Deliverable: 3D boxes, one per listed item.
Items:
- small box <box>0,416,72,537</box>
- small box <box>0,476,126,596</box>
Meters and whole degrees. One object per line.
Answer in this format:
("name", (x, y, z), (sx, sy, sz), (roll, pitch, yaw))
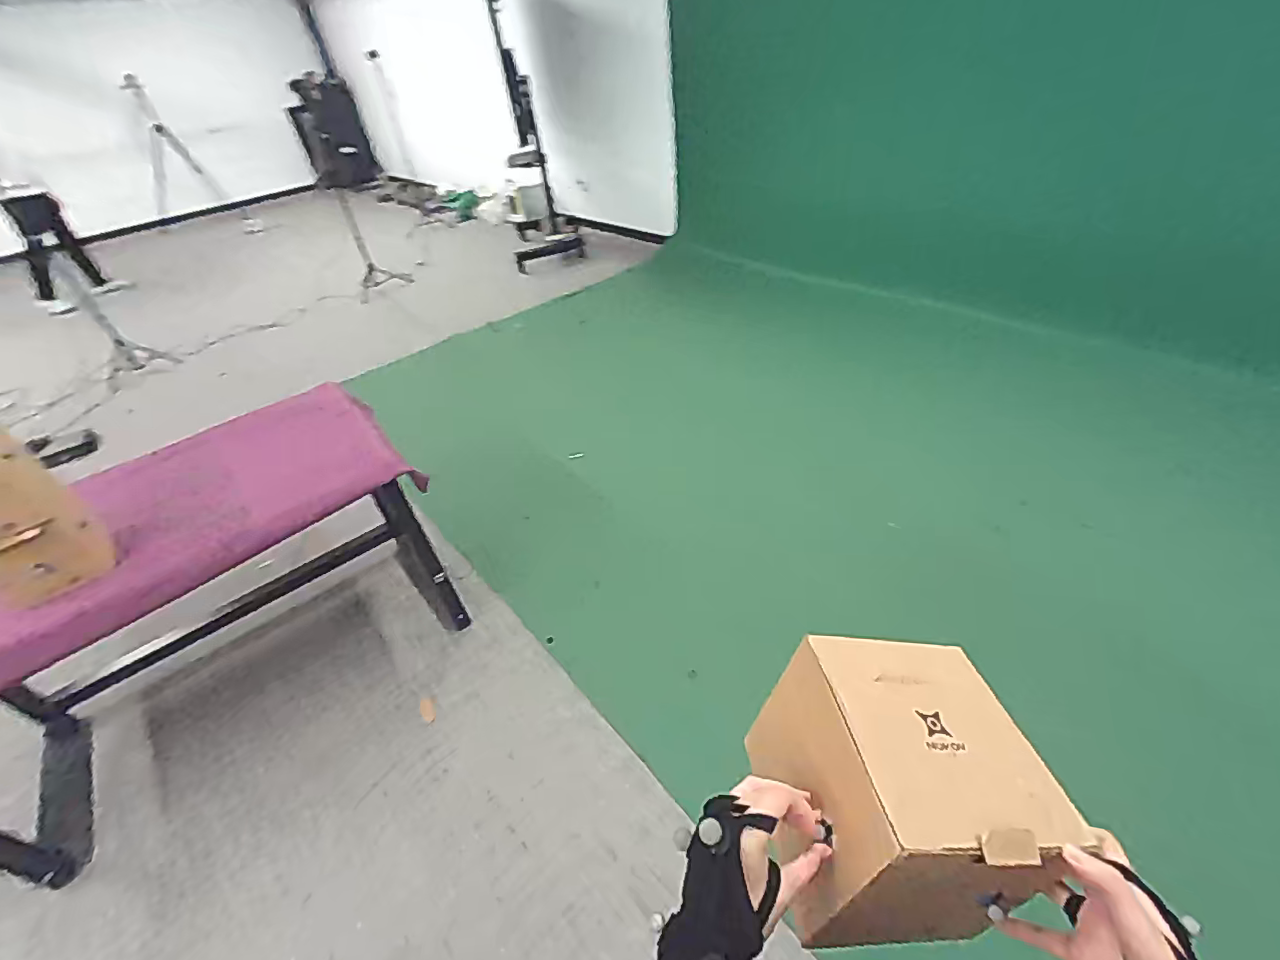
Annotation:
("small box", (-1.291, 0.006, 1.073), (0.168, 0.176, 0.179), (-31, 44, -25))
("small box", (-1.278, 0.129, 1.183), (0.168, 0.176, 0.179), (-30, 46, -26))
